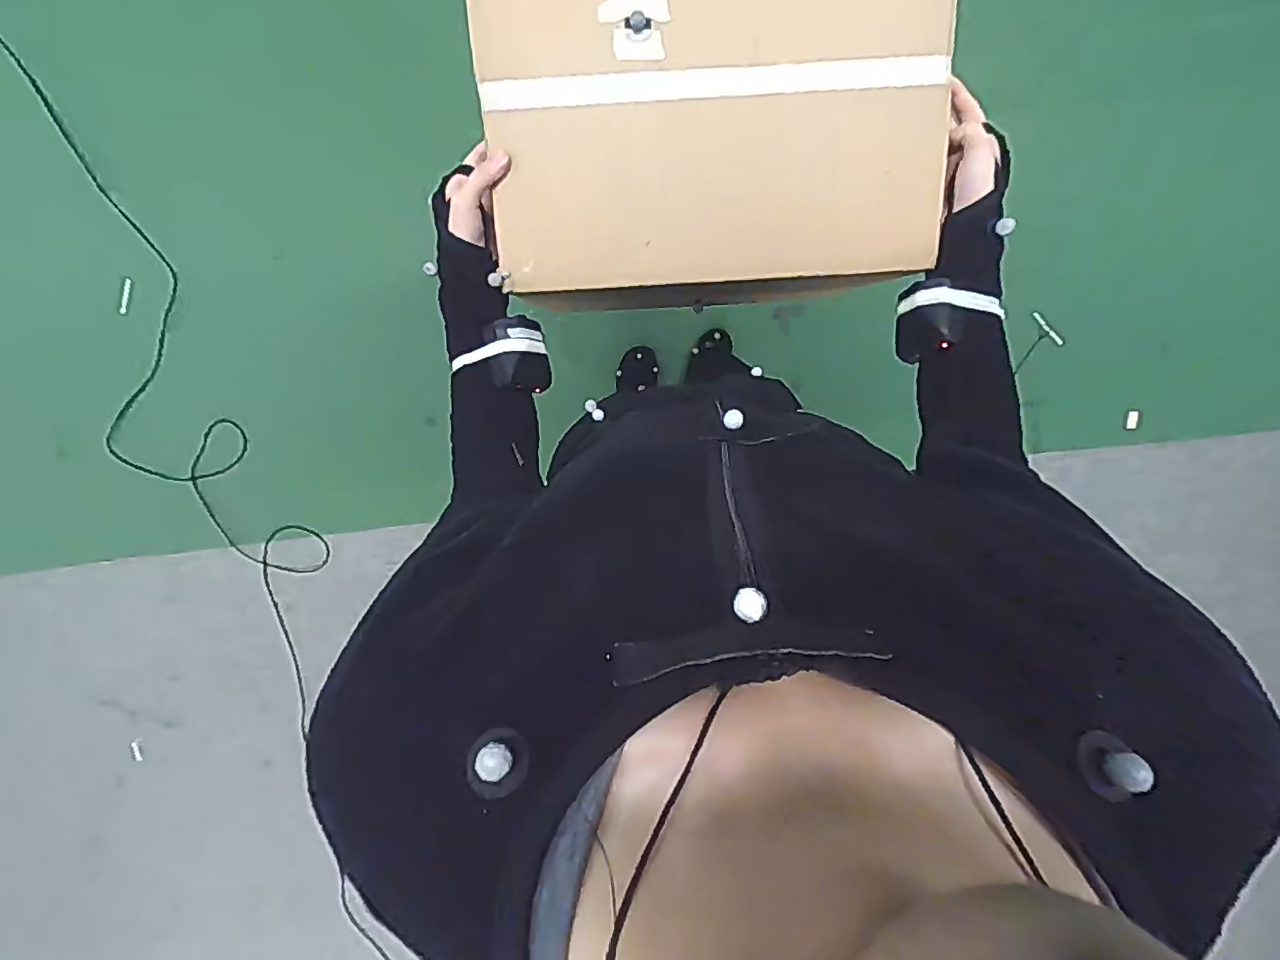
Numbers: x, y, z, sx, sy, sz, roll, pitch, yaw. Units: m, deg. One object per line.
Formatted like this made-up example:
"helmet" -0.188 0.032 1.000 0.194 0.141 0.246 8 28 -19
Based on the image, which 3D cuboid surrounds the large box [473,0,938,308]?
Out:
"large box" 0.060 -0.378 0.621 0.408 0.320 0.320 -3 103 0
